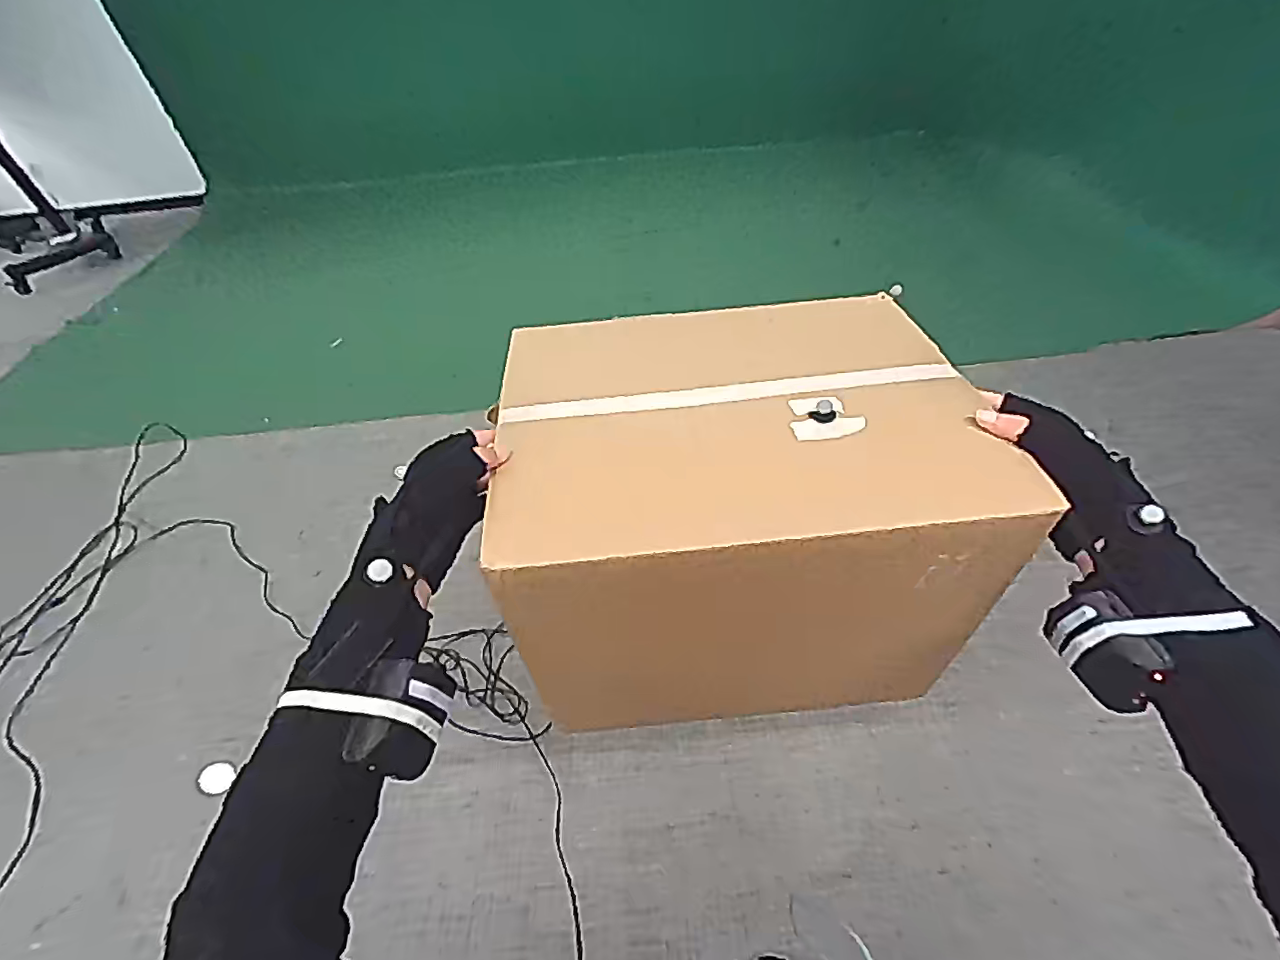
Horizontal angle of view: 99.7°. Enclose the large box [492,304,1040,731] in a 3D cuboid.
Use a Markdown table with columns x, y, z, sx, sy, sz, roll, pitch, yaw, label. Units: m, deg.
| x | y | z | sx | sy | sz | roll | pitch | yaw | label |
| --- | --- | --- | --- | --- | --- | --- | --- | --- | --- |
| 0.084 | 0.040 | 0.587 | 0.408 | 0.320 | 0.320 | -6 | 46 | -1 | large box |
